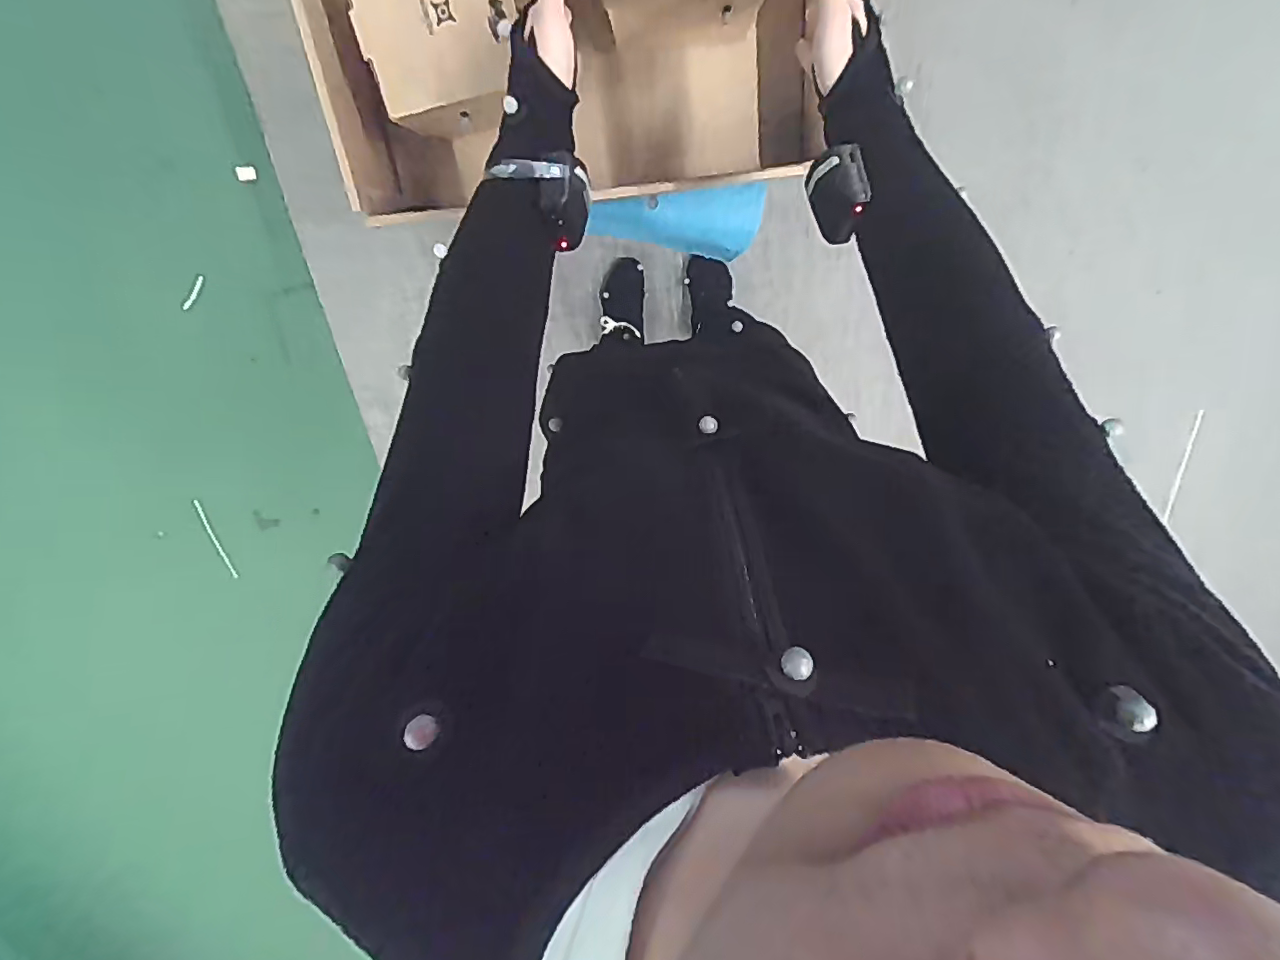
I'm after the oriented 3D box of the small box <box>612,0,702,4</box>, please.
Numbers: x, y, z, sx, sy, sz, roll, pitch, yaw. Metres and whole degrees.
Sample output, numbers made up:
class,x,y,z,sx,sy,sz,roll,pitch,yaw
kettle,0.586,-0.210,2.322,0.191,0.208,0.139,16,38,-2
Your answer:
class,x,y,z,sx,sy,sz,roll,pitch,yaw
small box,0.043,-0.549,0.470,0.179,0.176,0.168,-2,115,2
